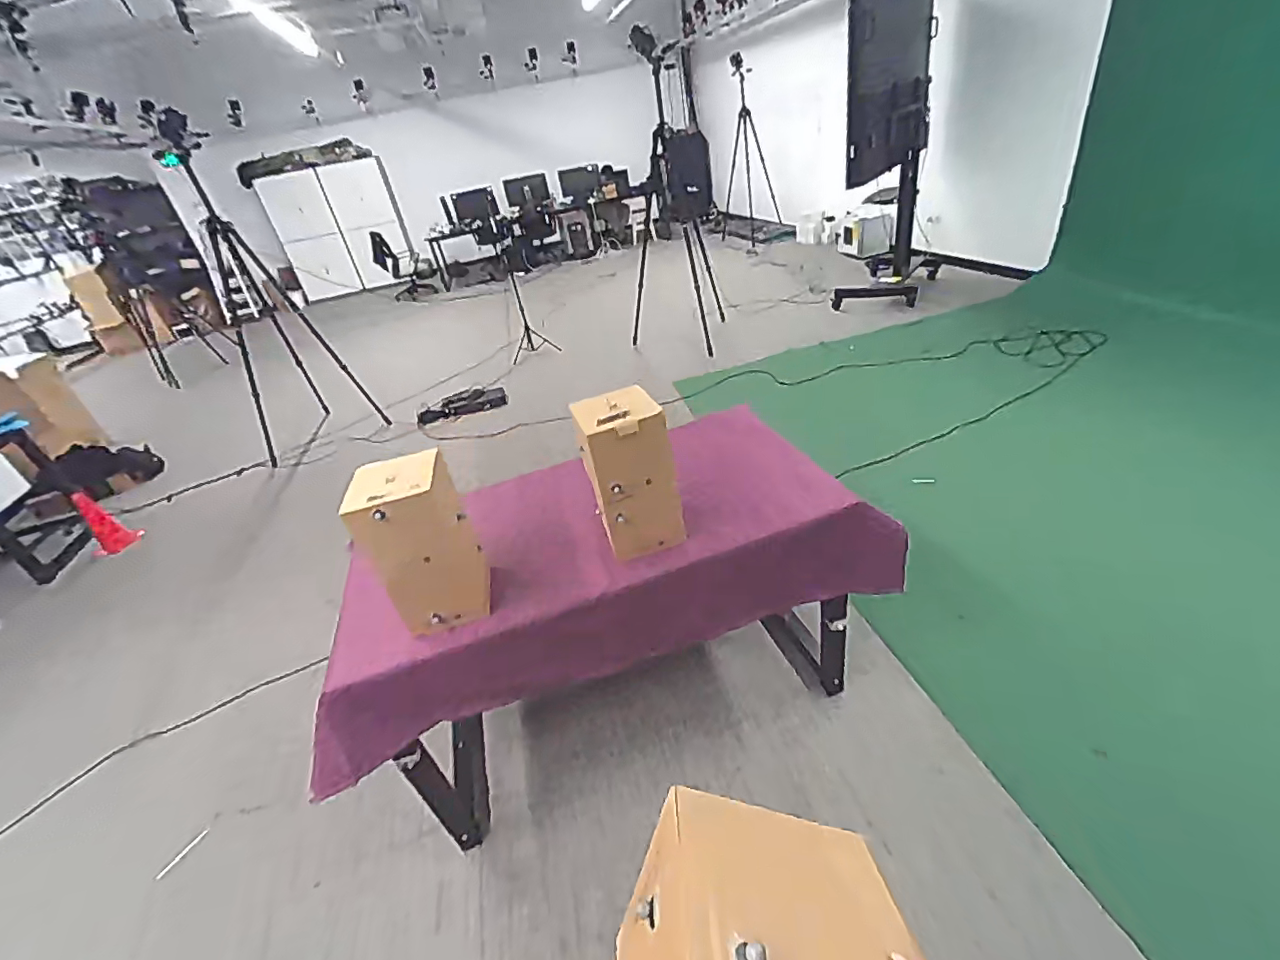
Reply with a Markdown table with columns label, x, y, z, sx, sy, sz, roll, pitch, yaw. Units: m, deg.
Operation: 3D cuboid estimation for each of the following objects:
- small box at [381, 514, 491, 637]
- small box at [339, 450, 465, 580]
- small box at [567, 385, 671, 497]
| label | x | y | z | sx | sy | sz | roll | pitch | yaw |
| --- | --- | --- | --- | --- | --- | --- | --- | --- | --- |
| small box | -0.430 | 0.204 | 1.168 | 0.168 | 0.176 | 0.179 | -16 | 33 | -5 |
| small box | -0.460 | 0.068 | 1.079 | 0.168 | 0.176 | 0.179 | -17 | 32 | -5 |
| small box | -0.043 | -0.080 | 1.168 | 0.168 | 0.176 | 0.179 | -19 | 31 | -10 |
